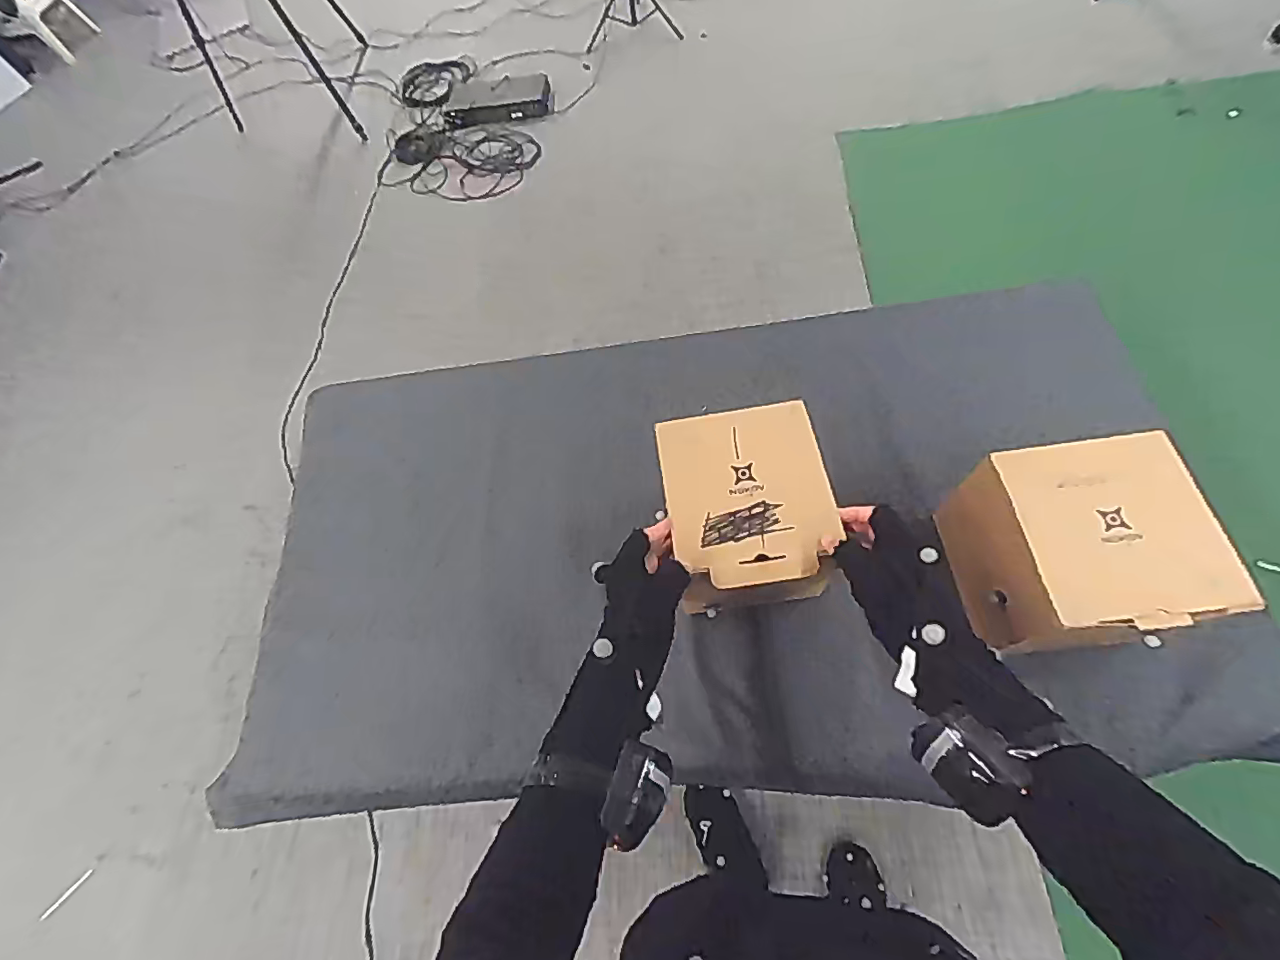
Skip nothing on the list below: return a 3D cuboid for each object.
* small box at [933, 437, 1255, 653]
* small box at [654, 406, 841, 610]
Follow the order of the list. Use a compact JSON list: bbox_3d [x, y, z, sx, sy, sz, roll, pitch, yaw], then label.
[{"bbox_3d":[0.443,0.080,0.569,0.168,0.176,0.179,-8,62,4],"label":"small box"},{"bbox_3d":[0.115,0.043,0.626,0.168,0.176,0.179,-9,61,3],"label":"small box"}]
